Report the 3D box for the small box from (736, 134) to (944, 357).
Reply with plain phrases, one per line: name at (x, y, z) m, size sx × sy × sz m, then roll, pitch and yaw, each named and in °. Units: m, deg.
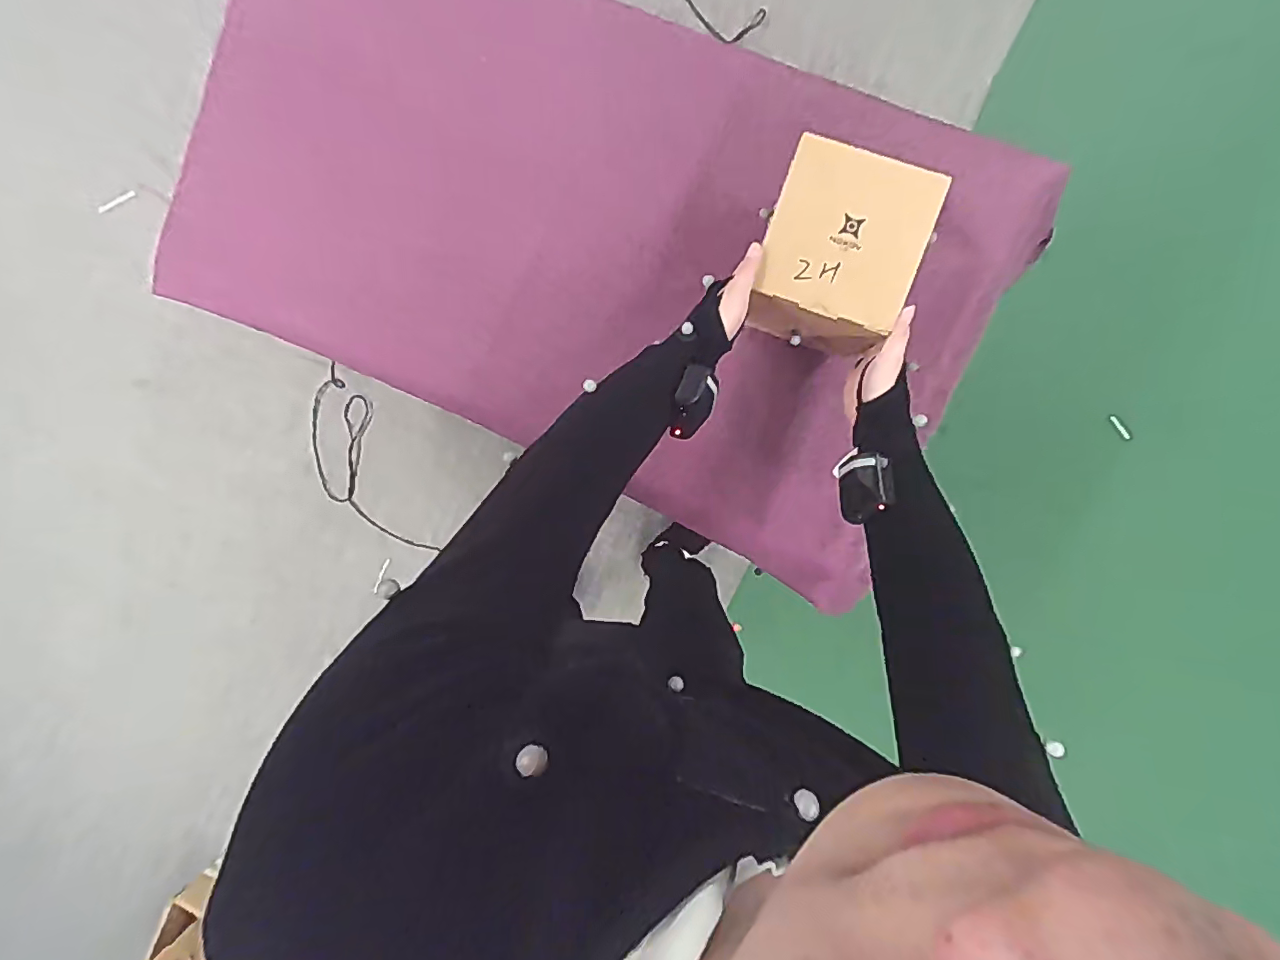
small box at (0.225, -0.269, 0.663) m, size 0.168 × 0.176 × 0.179 m, roll 21°, pitch 96°, yaw 4°
